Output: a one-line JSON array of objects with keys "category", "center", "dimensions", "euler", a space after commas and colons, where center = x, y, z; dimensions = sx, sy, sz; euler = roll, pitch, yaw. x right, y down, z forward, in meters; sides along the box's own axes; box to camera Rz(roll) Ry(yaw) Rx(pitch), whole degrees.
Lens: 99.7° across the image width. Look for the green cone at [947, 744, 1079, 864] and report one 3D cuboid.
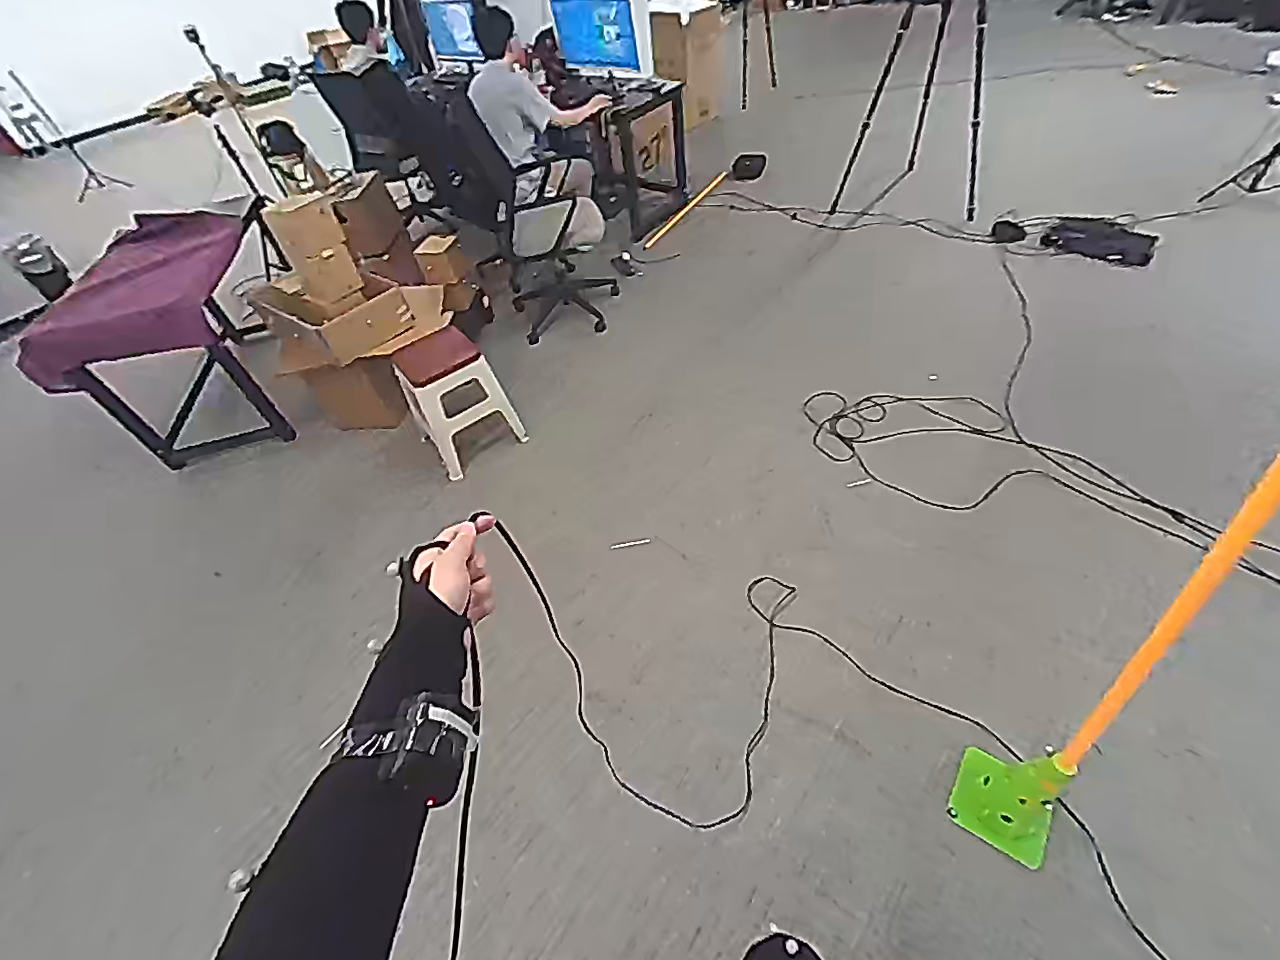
[{"category": "green cone", "center": [0.857, 0.663, 1.185], "dimensions": [0.200, 0.368, 0.202], "euler": [25, 56, 27]}]
